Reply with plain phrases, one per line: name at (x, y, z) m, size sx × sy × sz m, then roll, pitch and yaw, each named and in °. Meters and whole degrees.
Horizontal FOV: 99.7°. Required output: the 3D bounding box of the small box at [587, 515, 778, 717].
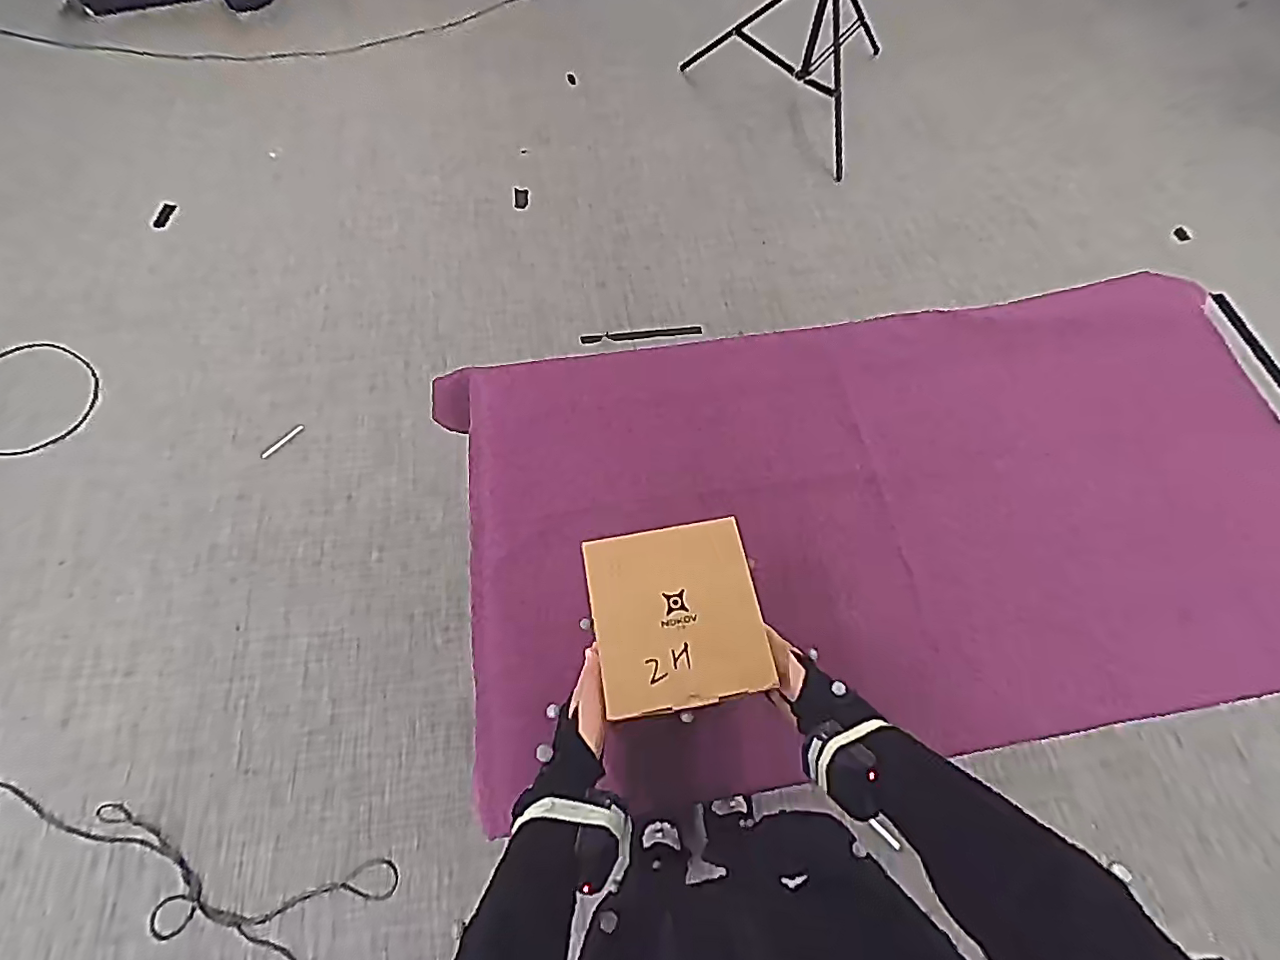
small box at (0.035, 0.159, 0.607) m, size 0.168 × 0.176 × 0.179 m, roll -9°, pitch 67°, yaw -4°
